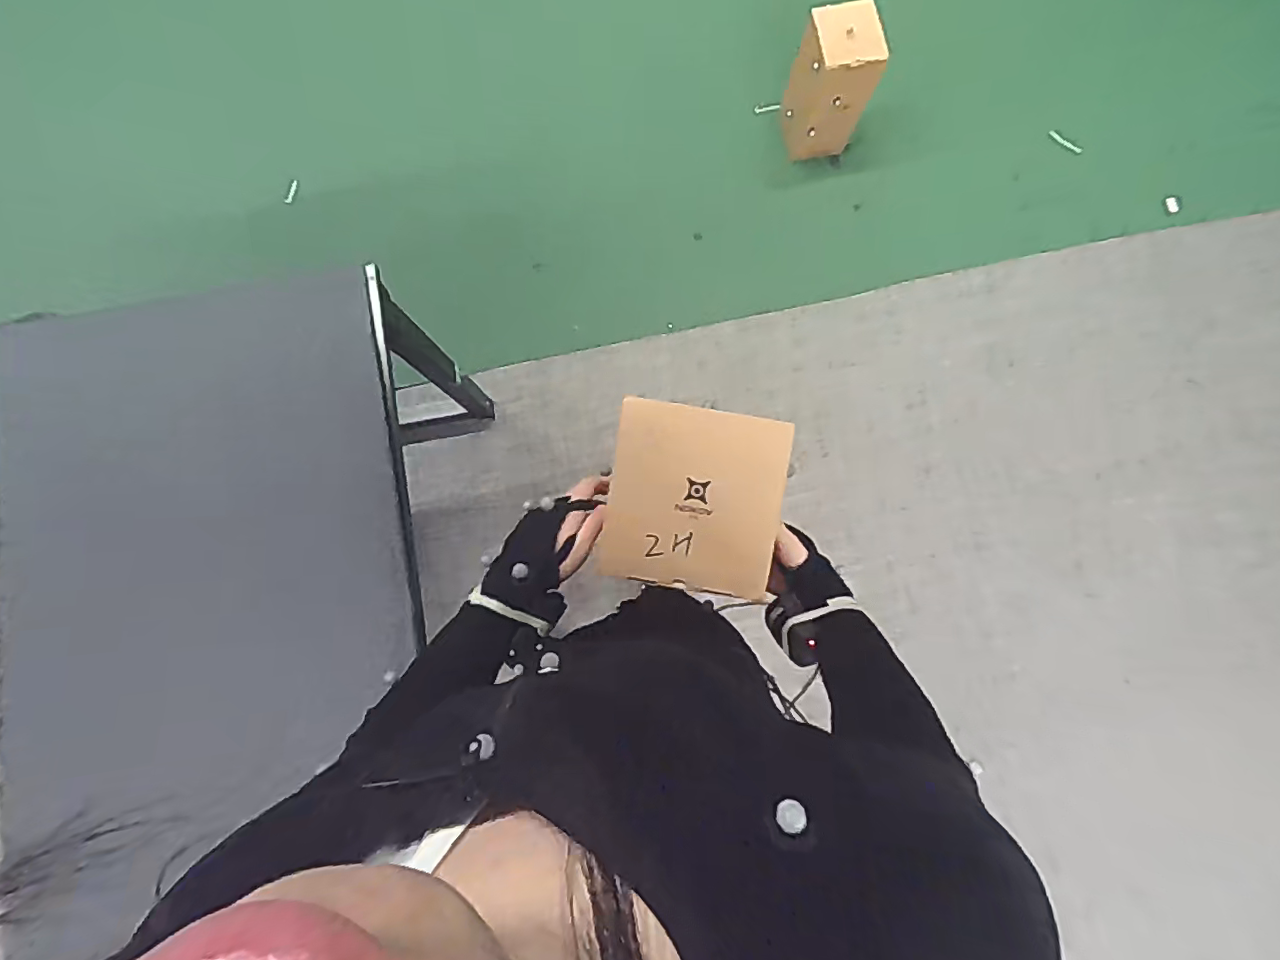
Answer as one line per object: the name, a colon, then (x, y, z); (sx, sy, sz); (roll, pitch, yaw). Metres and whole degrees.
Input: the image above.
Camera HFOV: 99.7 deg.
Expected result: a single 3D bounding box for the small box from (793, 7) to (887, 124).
small box: (0.525, -1.100, 1.443); (0.168, 0.176, 0.179); (-10, 82, -2)
